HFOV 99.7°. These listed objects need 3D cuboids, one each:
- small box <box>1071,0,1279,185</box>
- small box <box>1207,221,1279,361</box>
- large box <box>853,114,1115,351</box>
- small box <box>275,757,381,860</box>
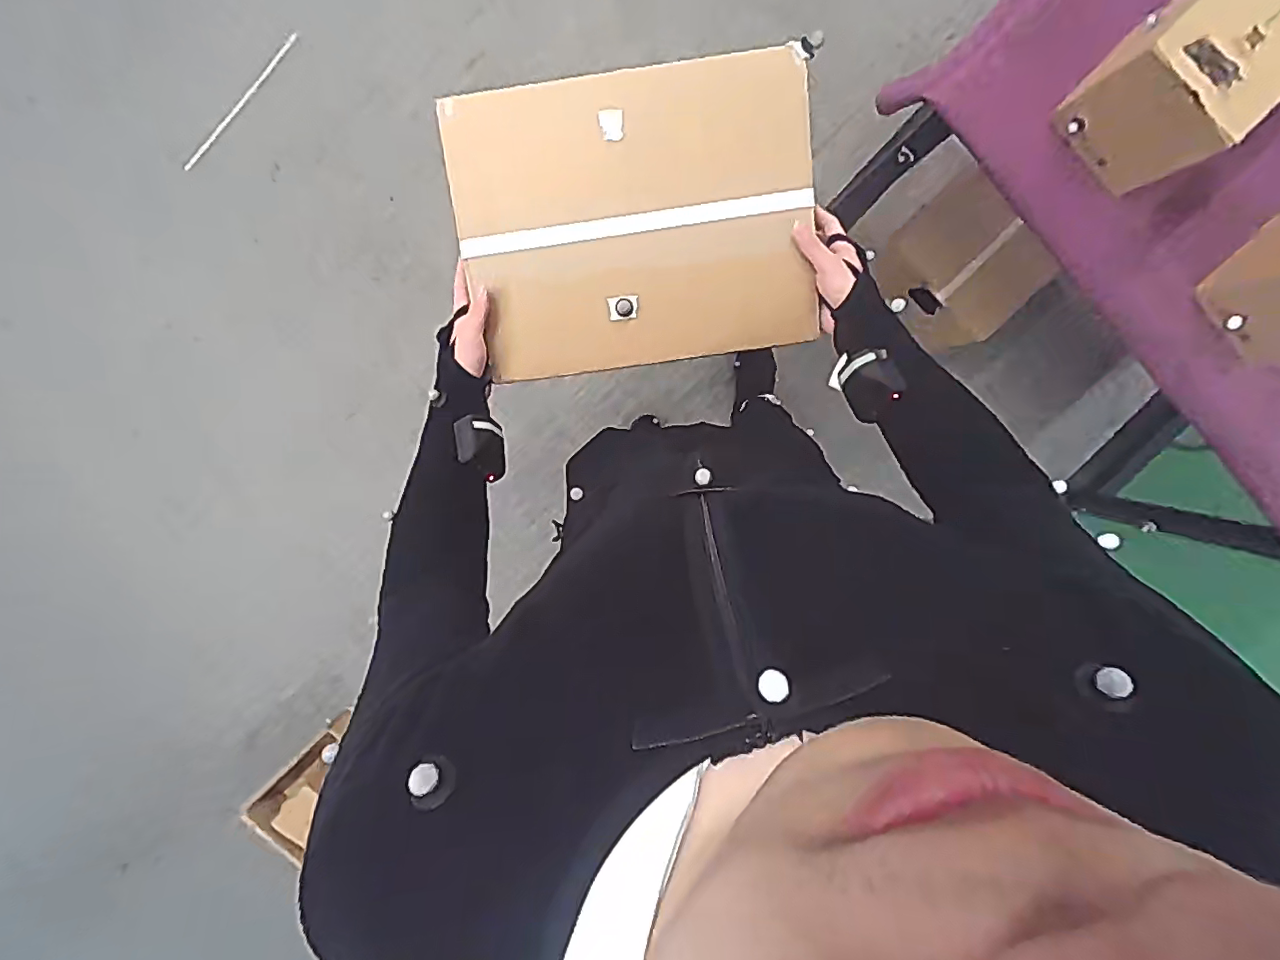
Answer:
[{"bbox_3d":[0.735,-0.542,0.725,0.168,0.176,0.179,43,94,-6],"label":"small box"},{"bbox_3d":[0.993,-0.290,0.765,0.179,0.176,0.168,-43,95,5],"label":"small box"},{"bbox_3d":[0.845,-0.595,1.388,0.320,0.320,0.408,44,95,-7],"label":"large box"},{"bbox_3d":[-0.926,0.970,1.621,0.179,0.176,0.168,41,95,-6],"label":"small box"}]
